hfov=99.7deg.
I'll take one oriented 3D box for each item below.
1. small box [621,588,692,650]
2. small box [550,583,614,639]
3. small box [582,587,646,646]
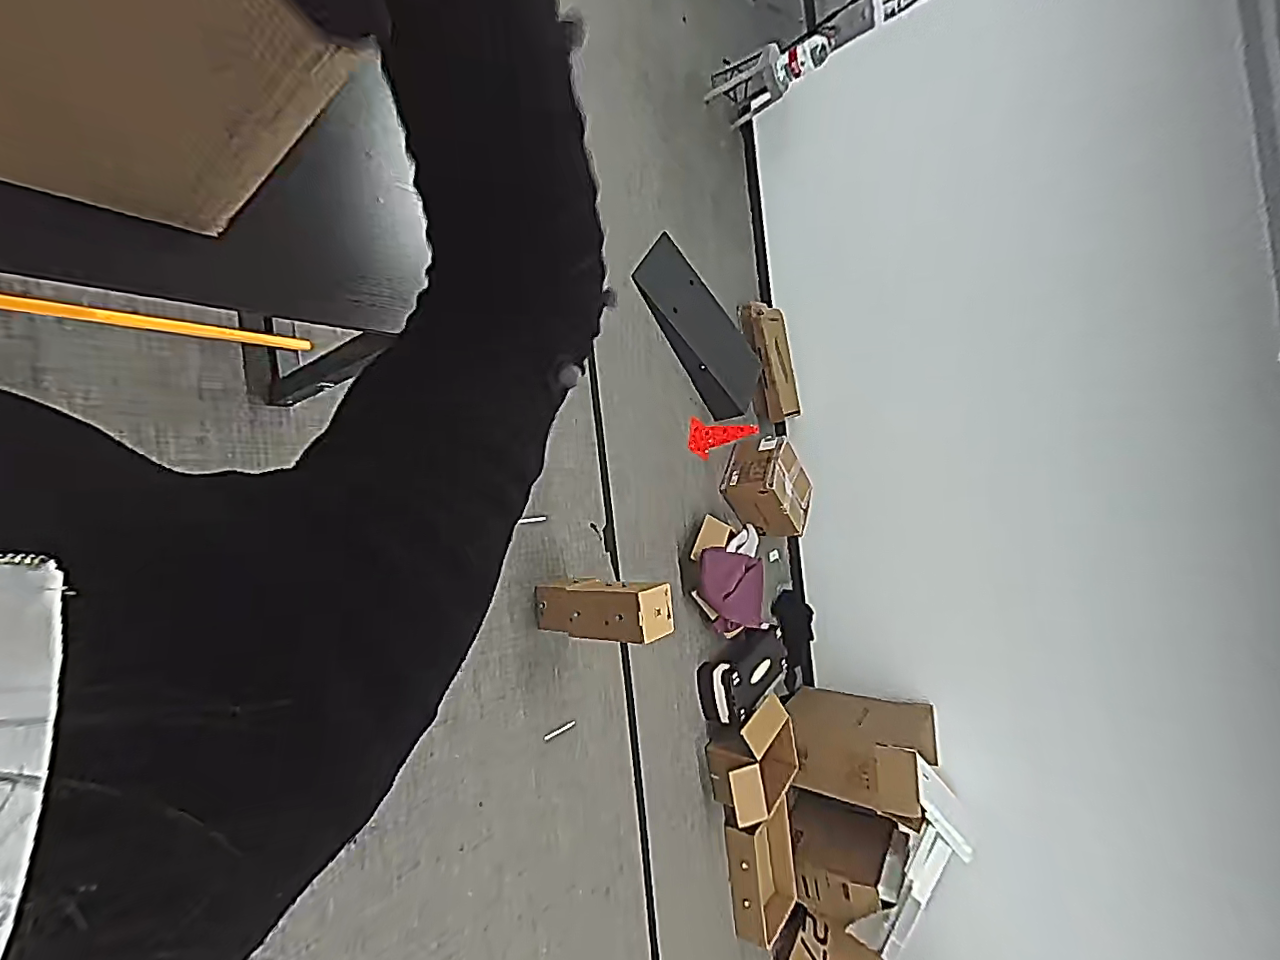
[{"bbox_3d":[0.049,0.454,1.786,0.179,0.176,0.168,-3,87,-53],"label":"small box"},{"bbox_3d":[-0.207,0.475,1.992,0.179,0.176,0.168,-5,88,-52],"label":"small box"},{"bbox_3d":[-0.080,0.469,1.885,0.179,0.176,0.168,-4,87,-53],"label":"small box"}]
